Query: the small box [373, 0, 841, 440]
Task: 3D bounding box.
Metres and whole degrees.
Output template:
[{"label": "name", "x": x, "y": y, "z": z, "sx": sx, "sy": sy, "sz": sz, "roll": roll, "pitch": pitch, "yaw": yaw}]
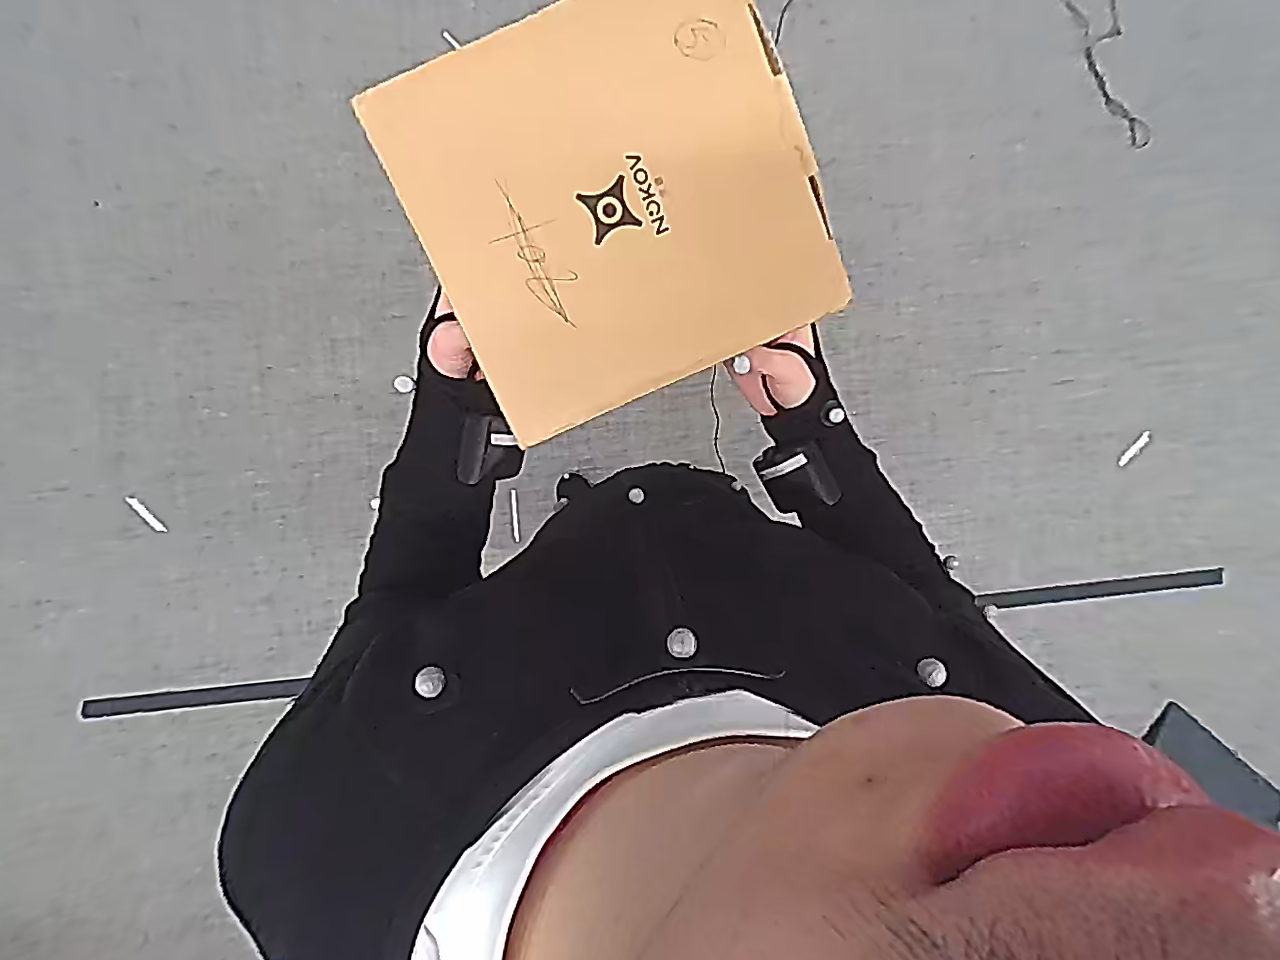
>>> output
[{"label": "small box", "x": -0.014, "y": -0.141, "z": 0.331, "sx": 0.179, "sy": 0.176, "sz": 0.168, "roll": -24, "pitch": 100, "yaw": 3}]
